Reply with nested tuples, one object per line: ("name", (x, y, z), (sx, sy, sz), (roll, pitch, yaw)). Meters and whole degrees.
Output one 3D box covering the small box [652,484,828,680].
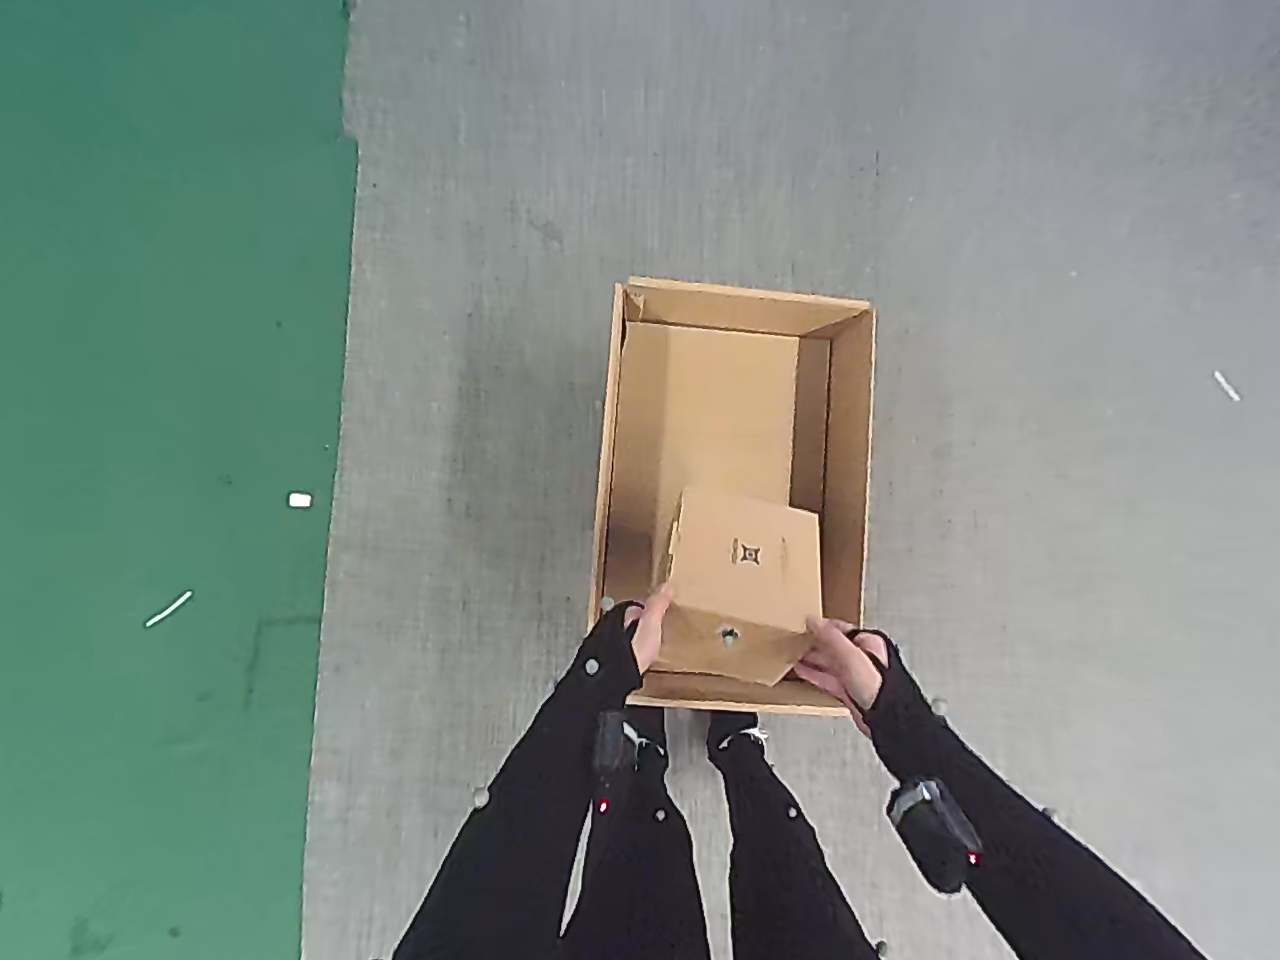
("small box", (0.119, 0.134, 0.687), (0.179, 0.176, 0.168), (13, 50, 0))
